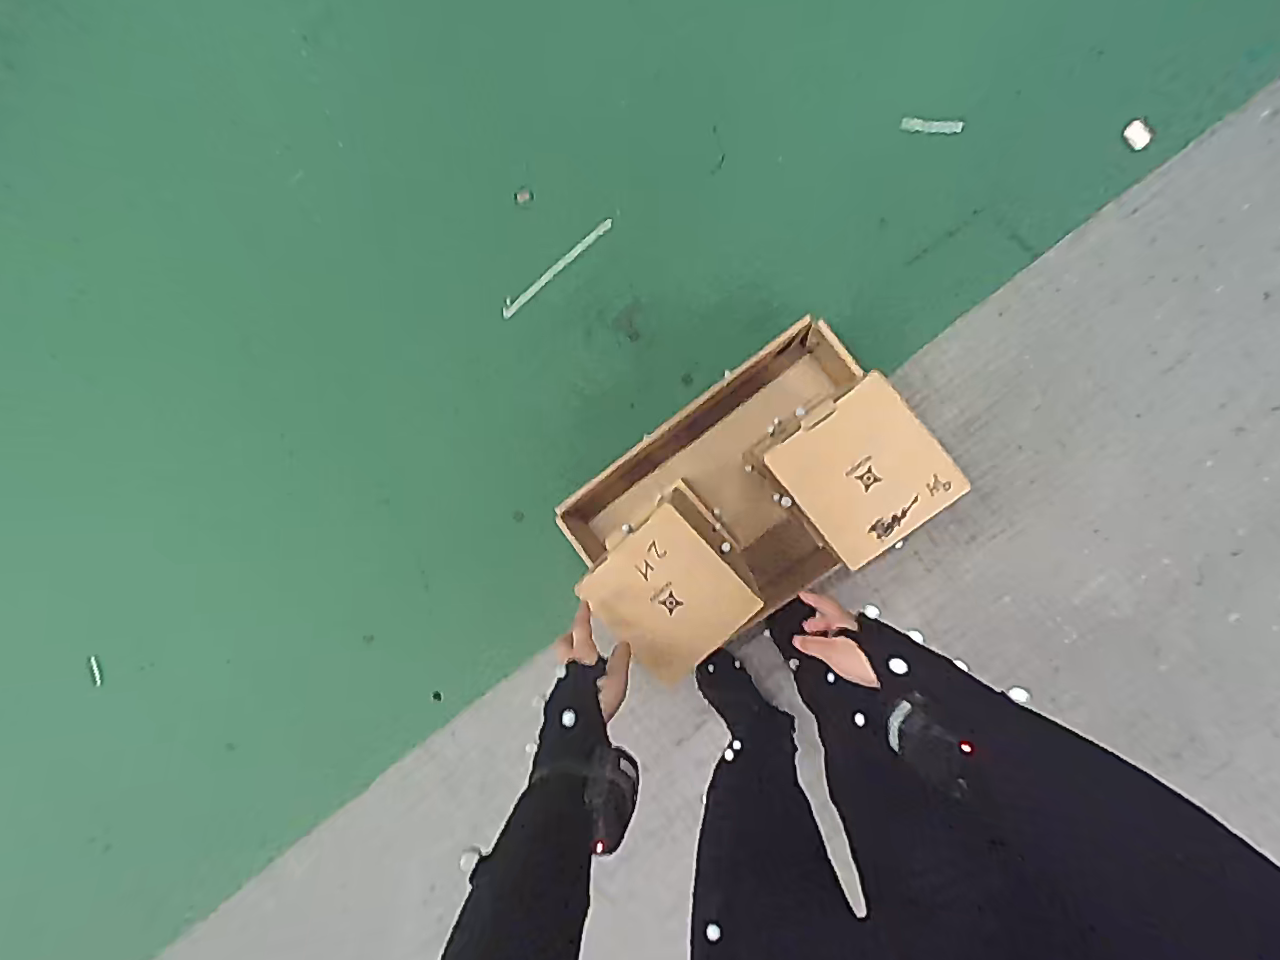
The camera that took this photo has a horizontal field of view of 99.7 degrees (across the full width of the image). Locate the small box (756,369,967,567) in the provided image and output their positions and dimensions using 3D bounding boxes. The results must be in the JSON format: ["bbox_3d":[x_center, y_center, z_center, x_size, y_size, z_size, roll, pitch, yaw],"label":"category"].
[{"bbox_3d":[0.266,-0.015,0.702,0.168,0.176,0.179,-38,86,8],"label":"small box"}]

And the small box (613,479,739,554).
[{"bbox_3d":[0.073,0.115,1.065,0.168,0.176,0.179,-42,87,6],"label":"small box"}]

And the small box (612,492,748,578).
[{"bbox_3d":[0.055,0.134,0.902,0.168,0.176,0.179,-44,88,6],"label":"small box"}]

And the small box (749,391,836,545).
[{"bbox_3d":[0.291,-0.022,0.866,0.168,0.176,0.179,-36,89,9],"label":"small box"}]

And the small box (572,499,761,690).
[{"bbox_3d":[0.039,0.140,0.738,0.168,0.176,0.179,-44,87,5],"label":"small box"}]
